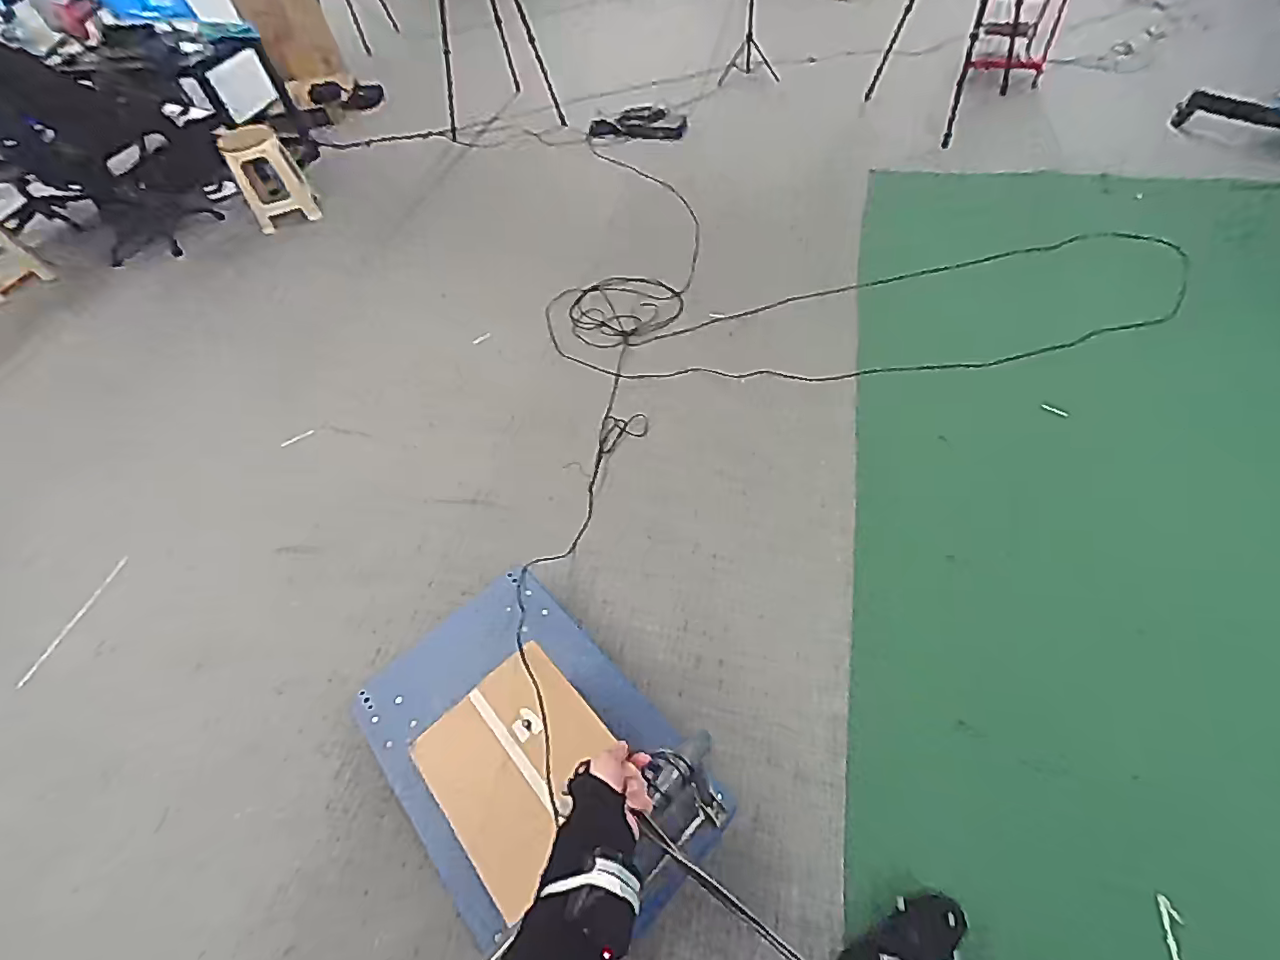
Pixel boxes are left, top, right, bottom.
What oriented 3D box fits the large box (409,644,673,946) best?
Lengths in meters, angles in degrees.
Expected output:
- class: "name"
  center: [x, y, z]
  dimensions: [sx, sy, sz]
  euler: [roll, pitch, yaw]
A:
- class: "large box"
  center: [-0.184, 0.628, 1.116]
  dimensions: [0.320, 0.320, 0.408]
  euler: [-39, 58, -20]
